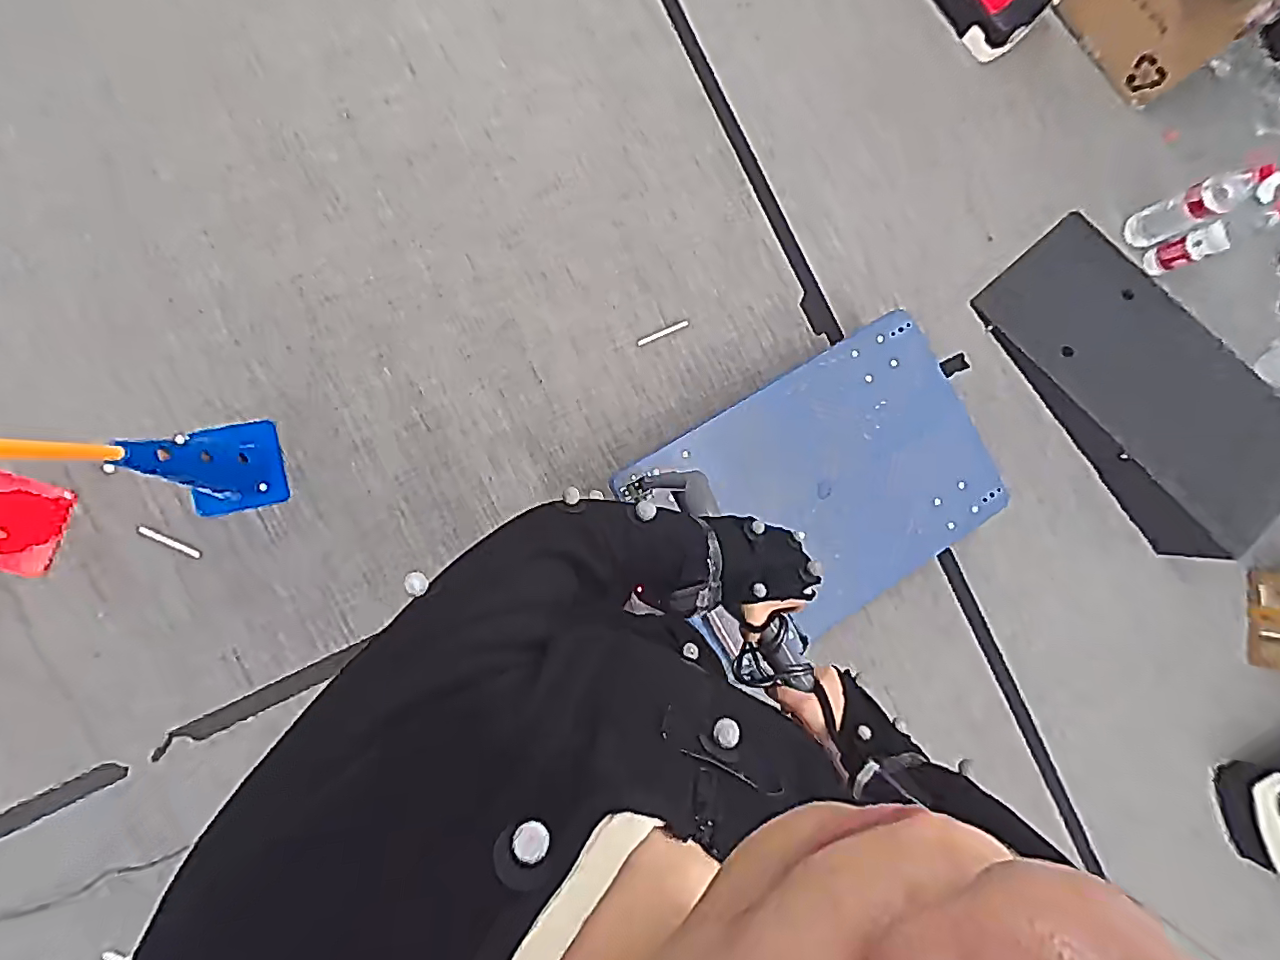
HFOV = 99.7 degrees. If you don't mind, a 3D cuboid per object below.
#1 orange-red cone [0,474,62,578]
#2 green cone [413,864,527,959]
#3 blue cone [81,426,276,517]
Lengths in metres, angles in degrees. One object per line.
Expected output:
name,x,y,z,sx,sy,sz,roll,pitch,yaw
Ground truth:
orange-red cone,-1.335,0.083,0.980,0.199,0.360,0.198,20,84,-9
green cone,-0.366,1.015,1.086,0.202,0.368,0.200,-39,93,-8
blue cone,-0.916,-0.031,1.071,0.192,0.380,0.193,-10,89,-9
